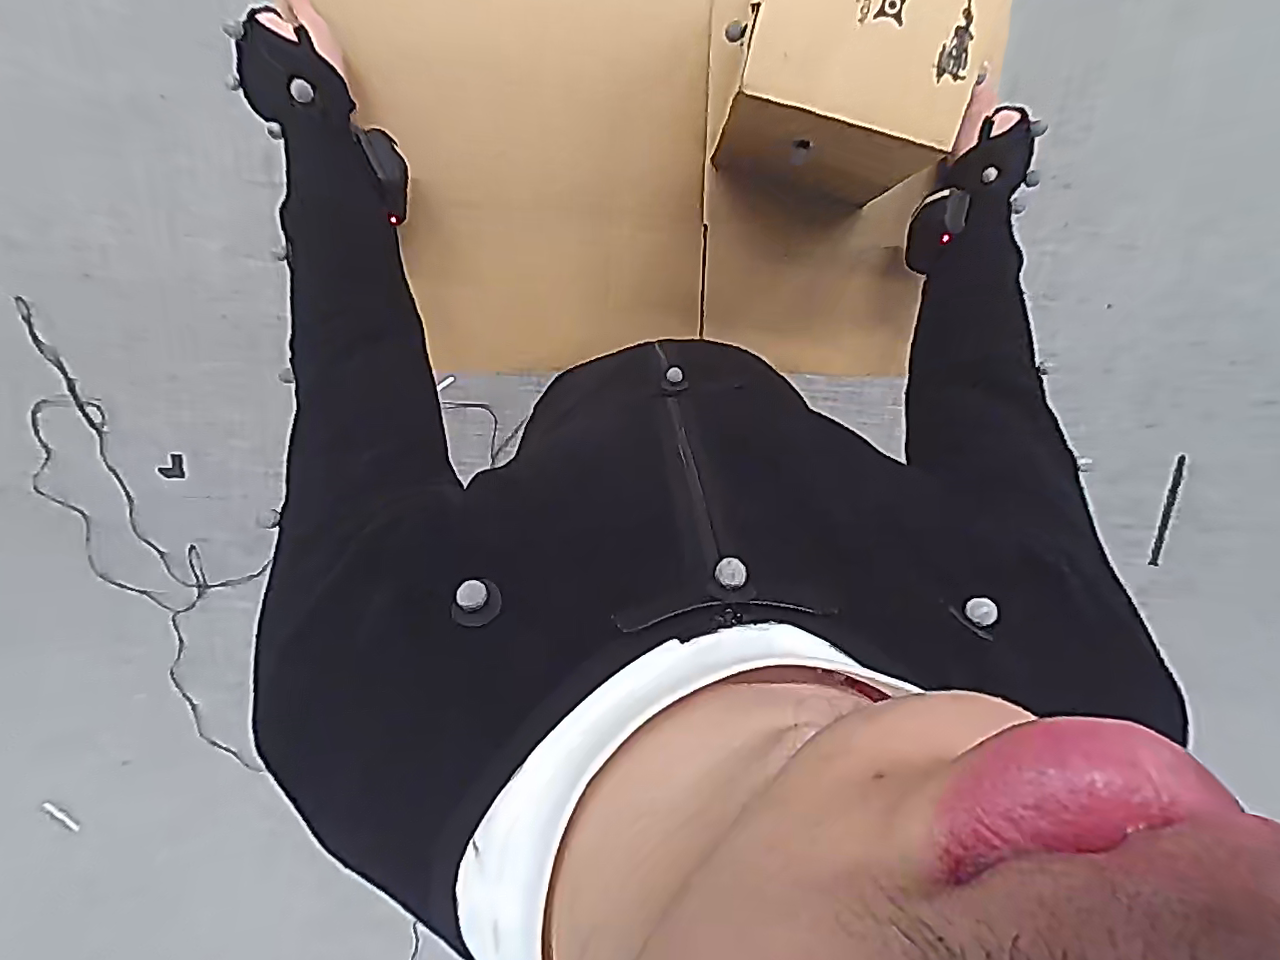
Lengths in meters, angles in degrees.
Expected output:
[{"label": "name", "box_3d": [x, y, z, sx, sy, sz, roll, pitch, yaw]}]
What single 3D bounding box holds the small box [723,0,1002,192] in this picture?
[{"label": "small box", "box_3d": [0.182, -0.379, 0.479, 0.179, 0.176, 0.168, 14, 104, -2]}]
